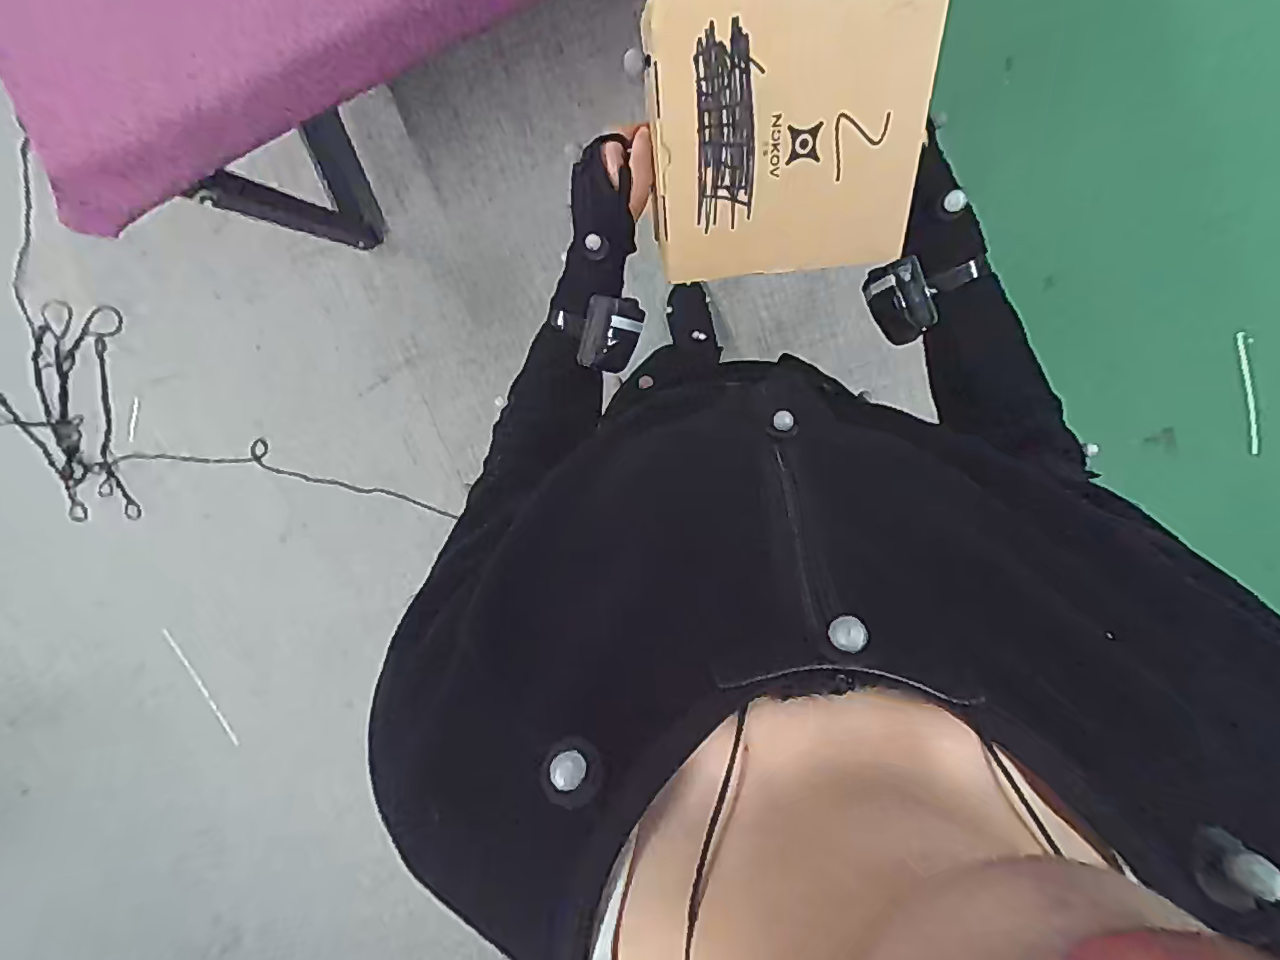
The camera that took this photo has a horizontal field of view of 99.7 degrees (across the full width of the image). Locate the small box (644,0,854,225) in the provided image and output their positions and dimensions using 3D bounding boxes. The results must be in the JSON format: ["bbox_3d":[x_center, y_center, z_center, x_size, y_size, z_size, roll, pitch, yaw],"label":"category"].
[{"bbox_3d":[0.091,-0.371,0.549,0.168,0.176,0.179,-2,125,-2],"label":"small box"}]
